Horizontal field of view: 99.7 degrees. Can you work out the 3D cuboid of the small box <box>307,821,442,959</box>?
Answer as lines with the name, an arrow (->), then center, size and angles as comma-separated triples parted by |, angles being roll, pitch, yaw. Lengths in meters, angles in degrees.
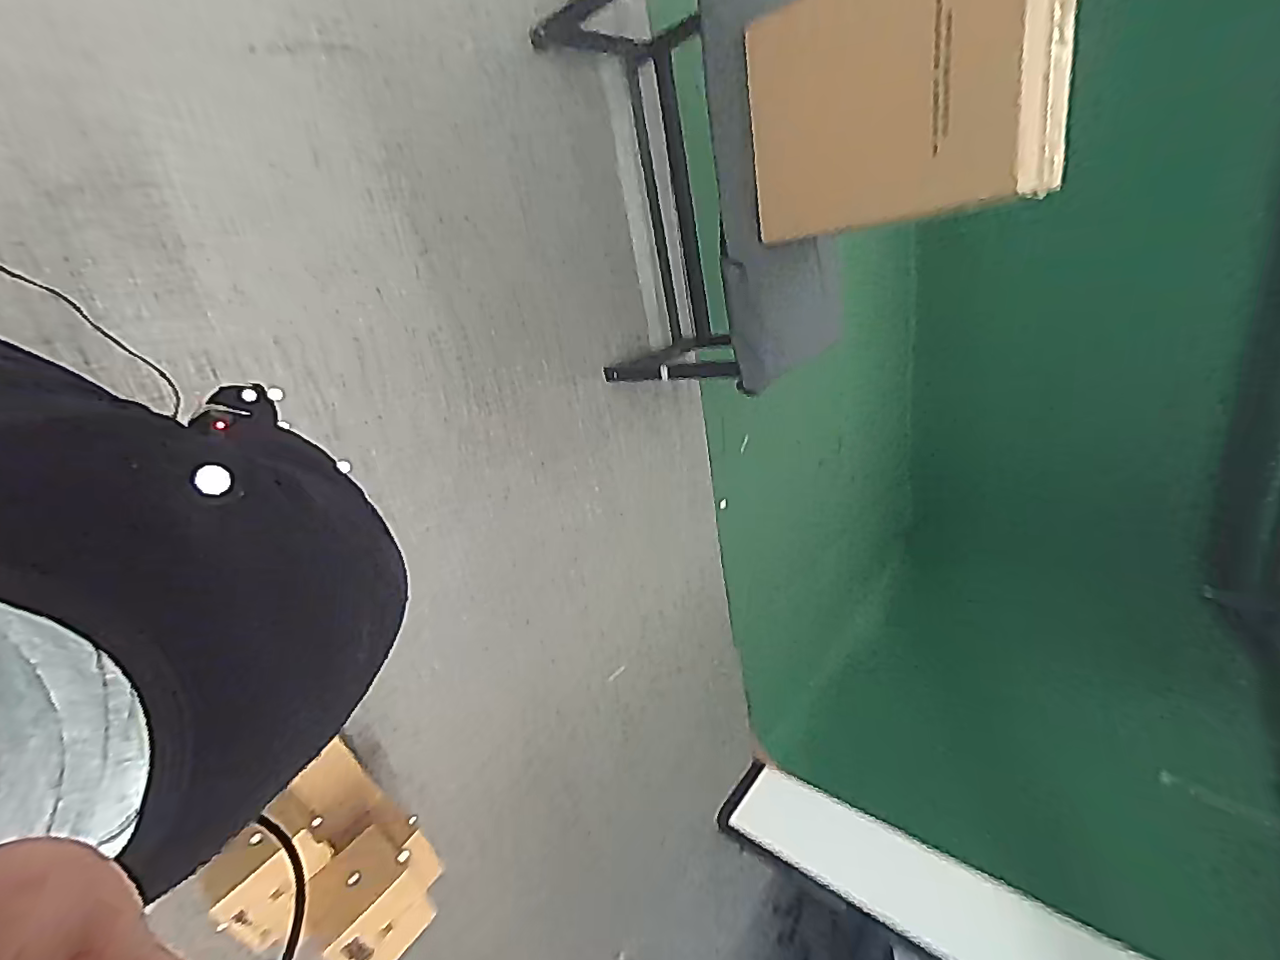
small box -> -0.549, 0.859, 1.109 | 0.179, 0.176, 0.168 | -35, 122, -41

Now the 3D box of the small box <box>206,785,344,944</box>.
small box -> -0.749, 0.783, 1.121 | 0.179, 0.176, 0.168 | -39, 124, -36
